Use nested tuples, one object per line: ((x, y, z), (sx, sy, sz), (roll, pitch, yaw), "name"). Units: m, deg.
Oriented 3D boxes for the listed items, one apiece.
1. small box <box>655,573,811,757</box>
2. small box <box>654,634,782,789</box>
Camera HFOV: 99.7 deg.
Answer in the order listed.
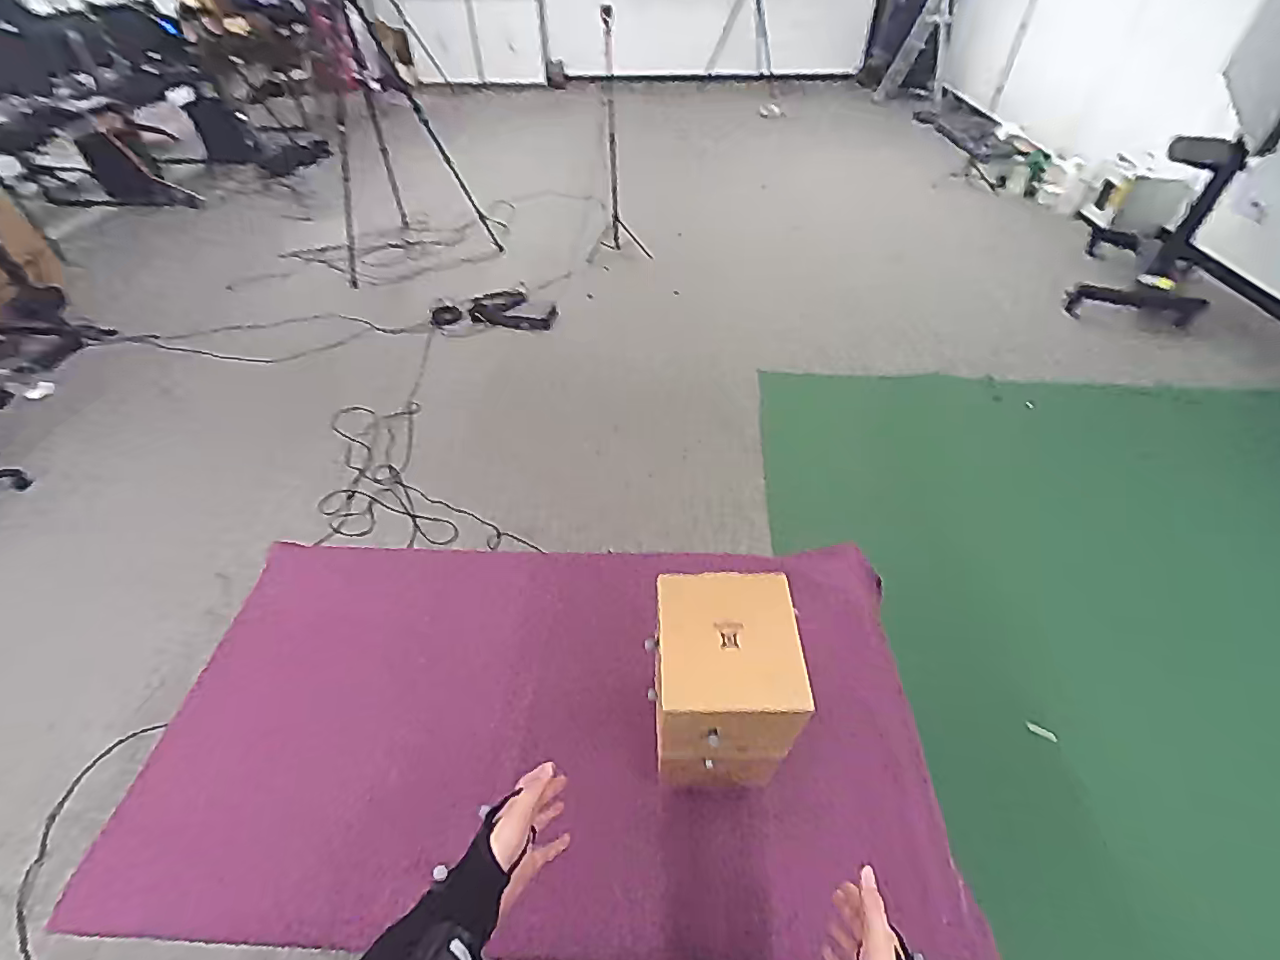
((0.104, 0.237, 0.685), (0.168, 0.176, 0.179), (0, 47, 1), "small box")
((0.105, 0.342, 0.809), (0.168, 0.176, 0.179), (-1, 46, 0), "small box")
